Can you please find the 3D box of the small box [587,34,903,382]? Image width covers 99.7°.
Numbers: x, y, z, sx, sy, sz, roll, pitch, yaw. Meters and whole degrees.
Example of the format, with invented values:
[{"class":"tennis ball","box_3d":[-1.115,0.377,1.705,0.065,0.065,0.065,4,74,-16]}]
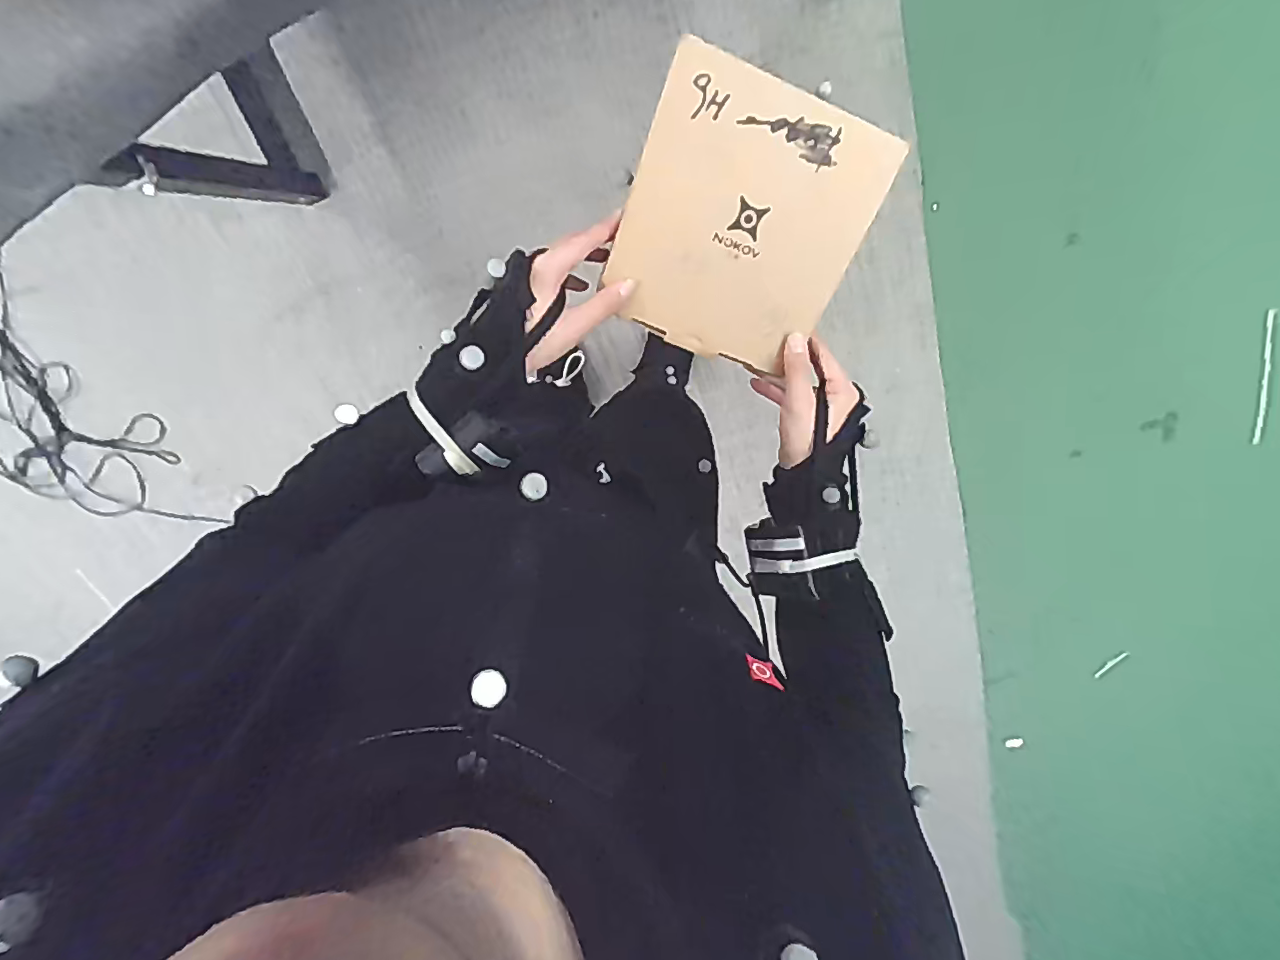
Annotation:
[{"class":"small box","box_3d":[0.067,-0.211,0.443,0.168,0.176,0.179,18,119,-10]}]
